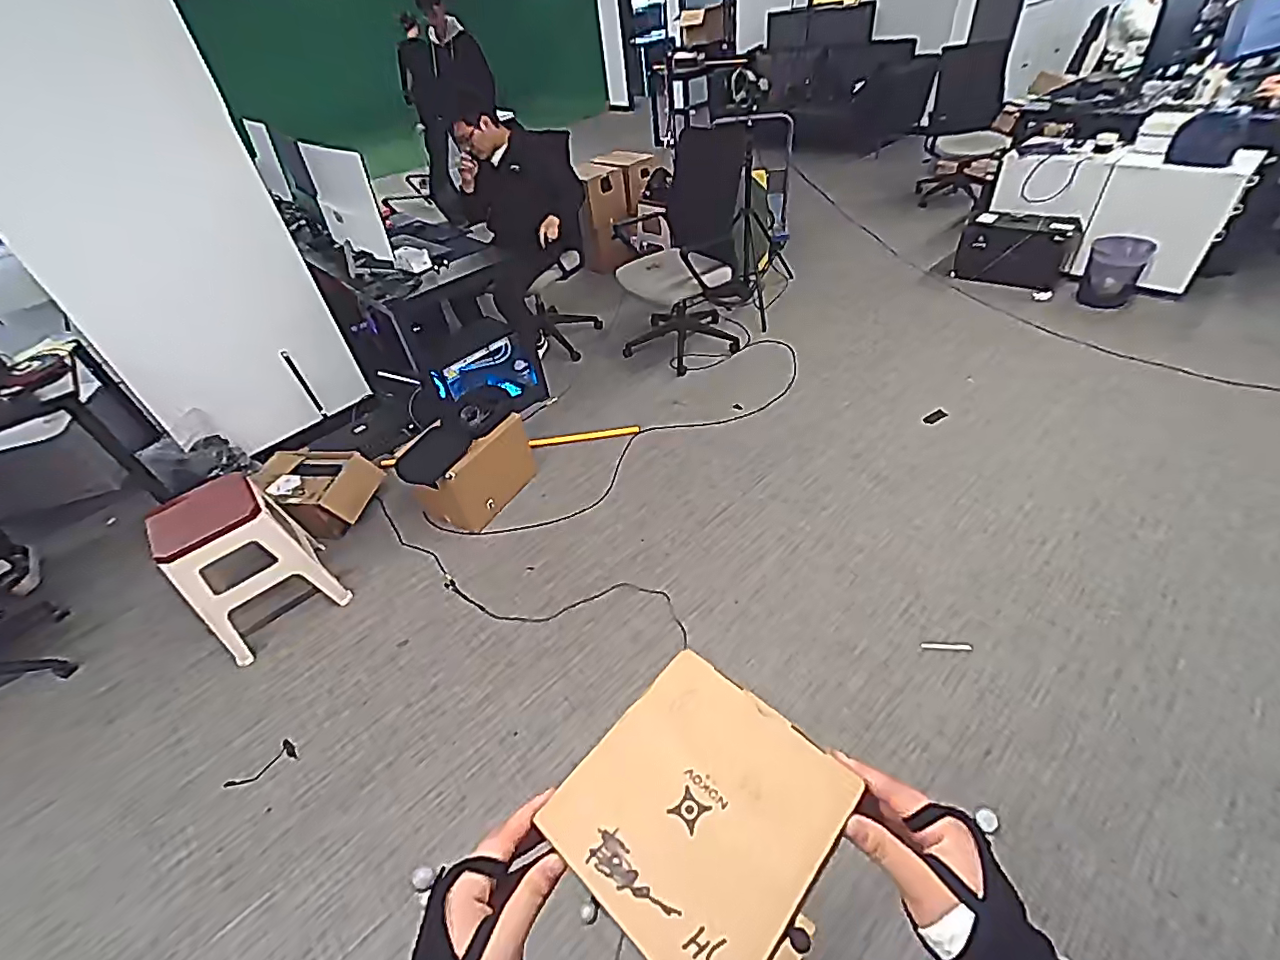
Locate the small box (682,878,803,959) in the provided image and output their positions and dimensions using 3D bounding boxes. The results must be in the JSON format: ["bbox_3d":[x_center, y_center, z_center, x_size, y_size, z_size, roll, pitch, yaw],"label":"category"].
[{"bbox_3d":[0.200,0.952,1.076,0.168,0.176,0.179,29,55,34],"label":"small box"}]
